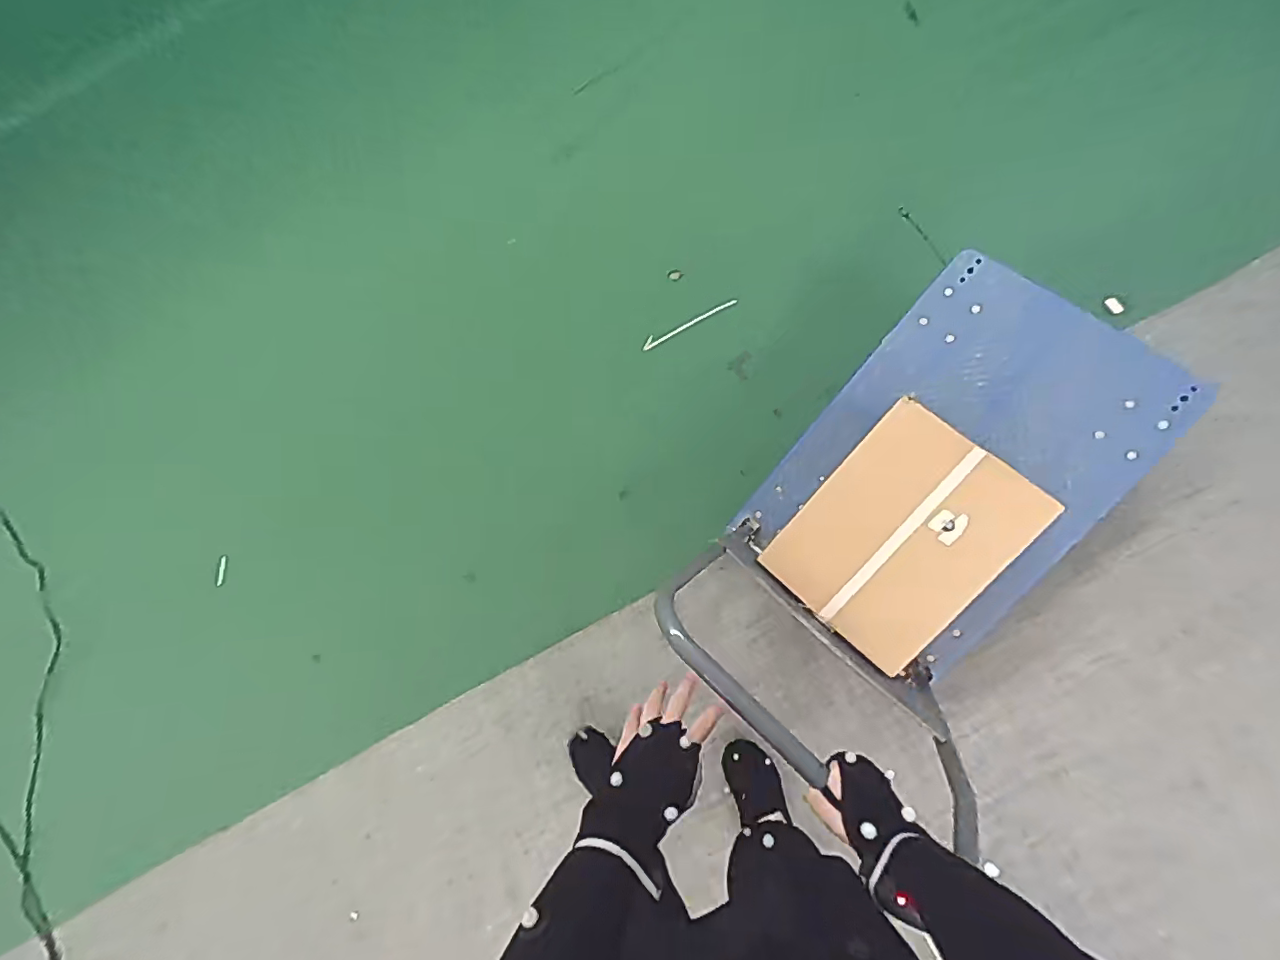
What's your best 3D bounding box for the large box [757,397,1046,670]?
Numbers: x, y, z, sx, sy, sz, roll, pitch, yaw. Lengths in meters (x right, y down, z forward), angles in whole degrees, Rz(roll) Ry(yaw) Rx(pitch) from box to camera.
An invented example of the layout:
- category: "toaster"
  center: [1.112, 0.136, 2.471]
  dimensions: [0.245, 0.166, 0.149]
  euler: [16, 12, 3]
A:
- category: "large box"
  center: [0.498, 0.105, 1.116]
  dimensions: [0.320, 0.320, 0.408]
  euler: [42, 100, 15]
